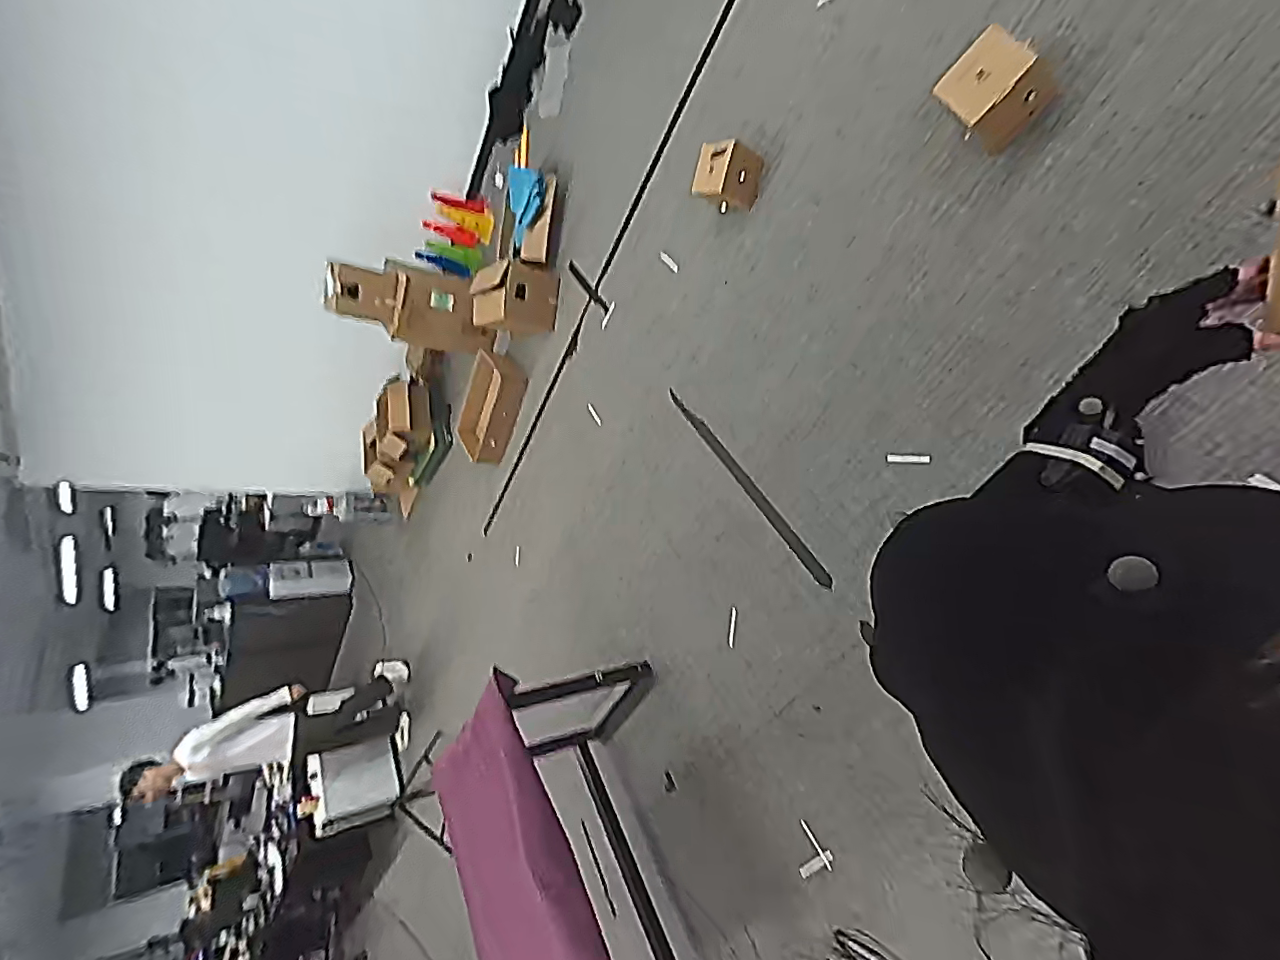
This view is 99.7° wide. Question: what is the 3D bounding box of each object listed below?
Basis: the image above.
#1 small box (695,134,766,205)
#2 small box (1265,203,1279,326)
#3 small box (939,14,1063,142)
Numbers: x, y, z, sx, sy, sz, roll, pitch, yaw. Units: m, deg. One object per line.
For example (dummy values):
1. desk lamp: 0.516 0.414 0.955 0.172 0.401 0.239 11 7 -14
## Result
1. small box: 0.336 -1.133 1.982 0.168 0.176 0.179 31 111 47
2. small box: 0.582 -0.206 0.365 0.179 0.176 0.168 13 116 57
3. small box: 0.885 -0.970 1.323 0.168 0.176 0.179 -45 54 37
